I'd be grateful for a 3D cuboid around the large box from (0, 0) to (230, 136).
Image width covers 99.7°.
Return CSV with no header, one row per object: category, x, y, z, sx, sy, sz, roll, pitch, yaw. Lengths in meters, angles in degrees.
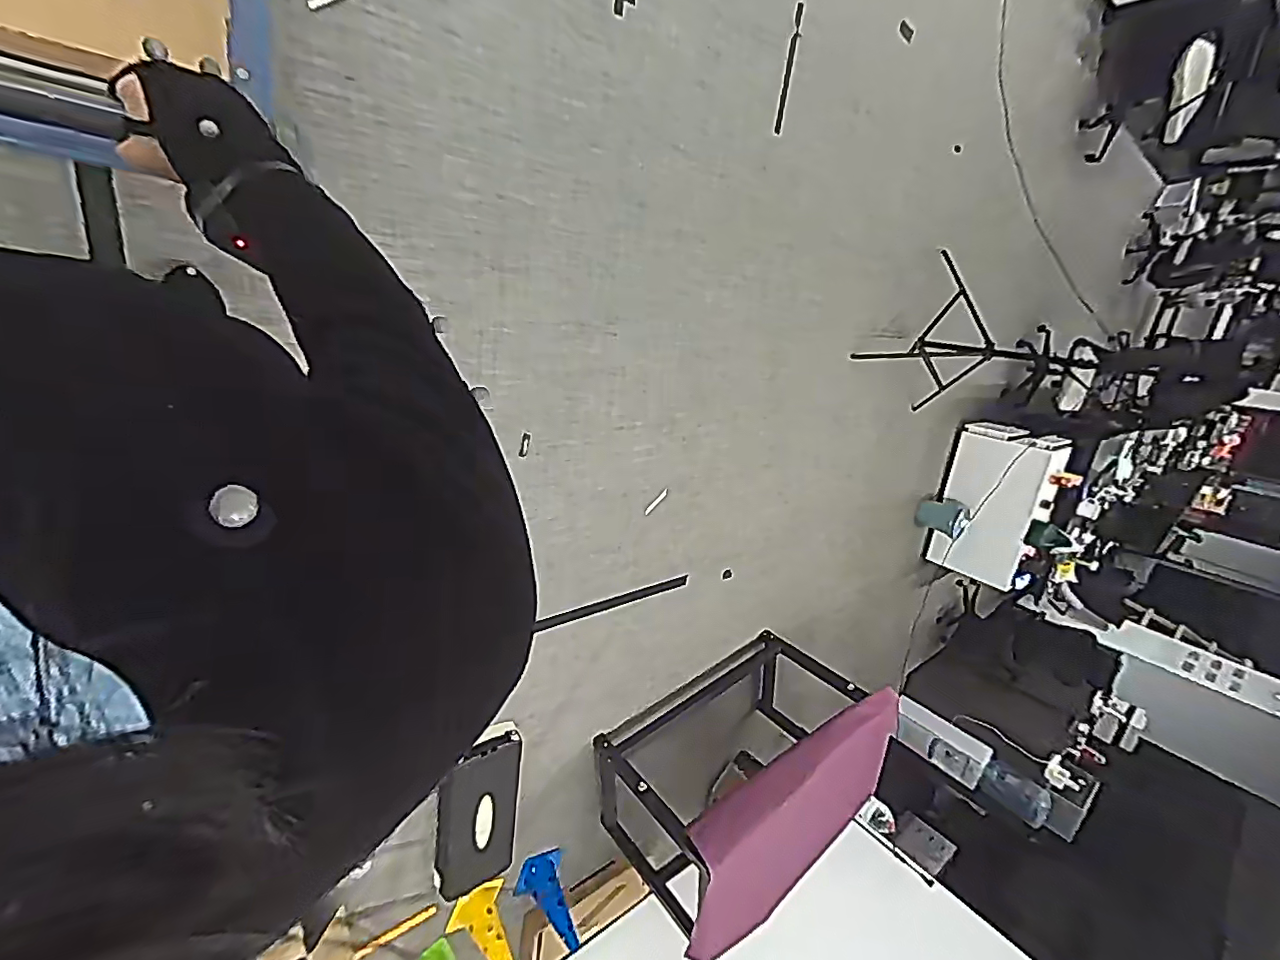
large box,-0.797,-0.683,0.683,0.408,0.320,0.320,-7,114,-40
